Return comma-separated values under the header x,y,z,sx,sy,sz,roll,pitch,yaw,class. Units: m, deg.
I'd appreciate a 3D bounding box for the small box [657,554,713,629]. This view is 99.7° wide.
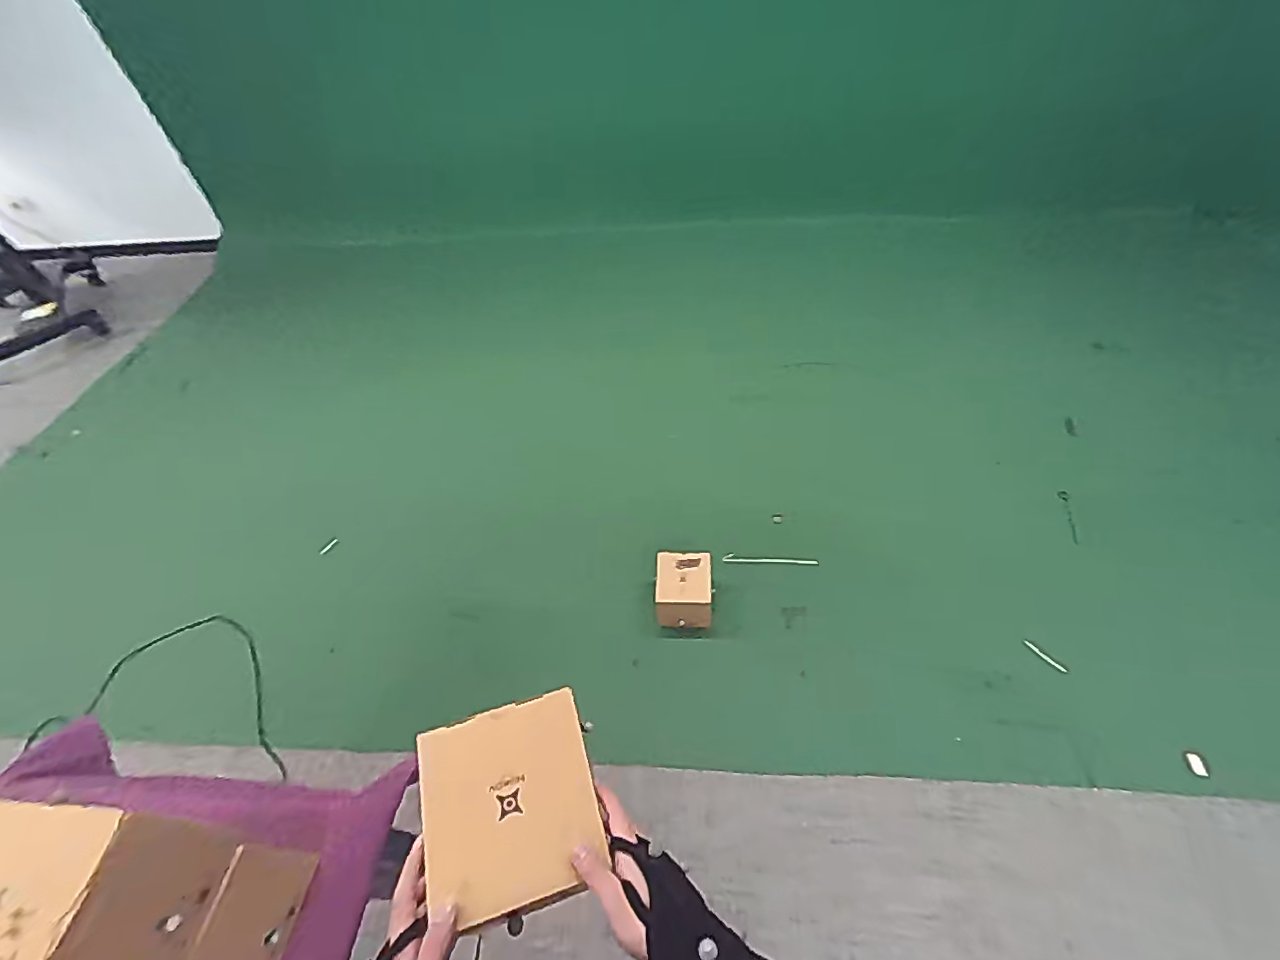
x,y,z,sx,sy,sz,roll,pitch,yaw,class
0.142,0.349,1.699,0.168,0.176,0.179,-1,51,6,small box

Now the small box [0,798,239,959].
x,y,z,sx,sy,sz,roll,pitch,yaw,class
-0.563,0.427,0.533,0.179,0.176,0.168,0,51,7,small box
